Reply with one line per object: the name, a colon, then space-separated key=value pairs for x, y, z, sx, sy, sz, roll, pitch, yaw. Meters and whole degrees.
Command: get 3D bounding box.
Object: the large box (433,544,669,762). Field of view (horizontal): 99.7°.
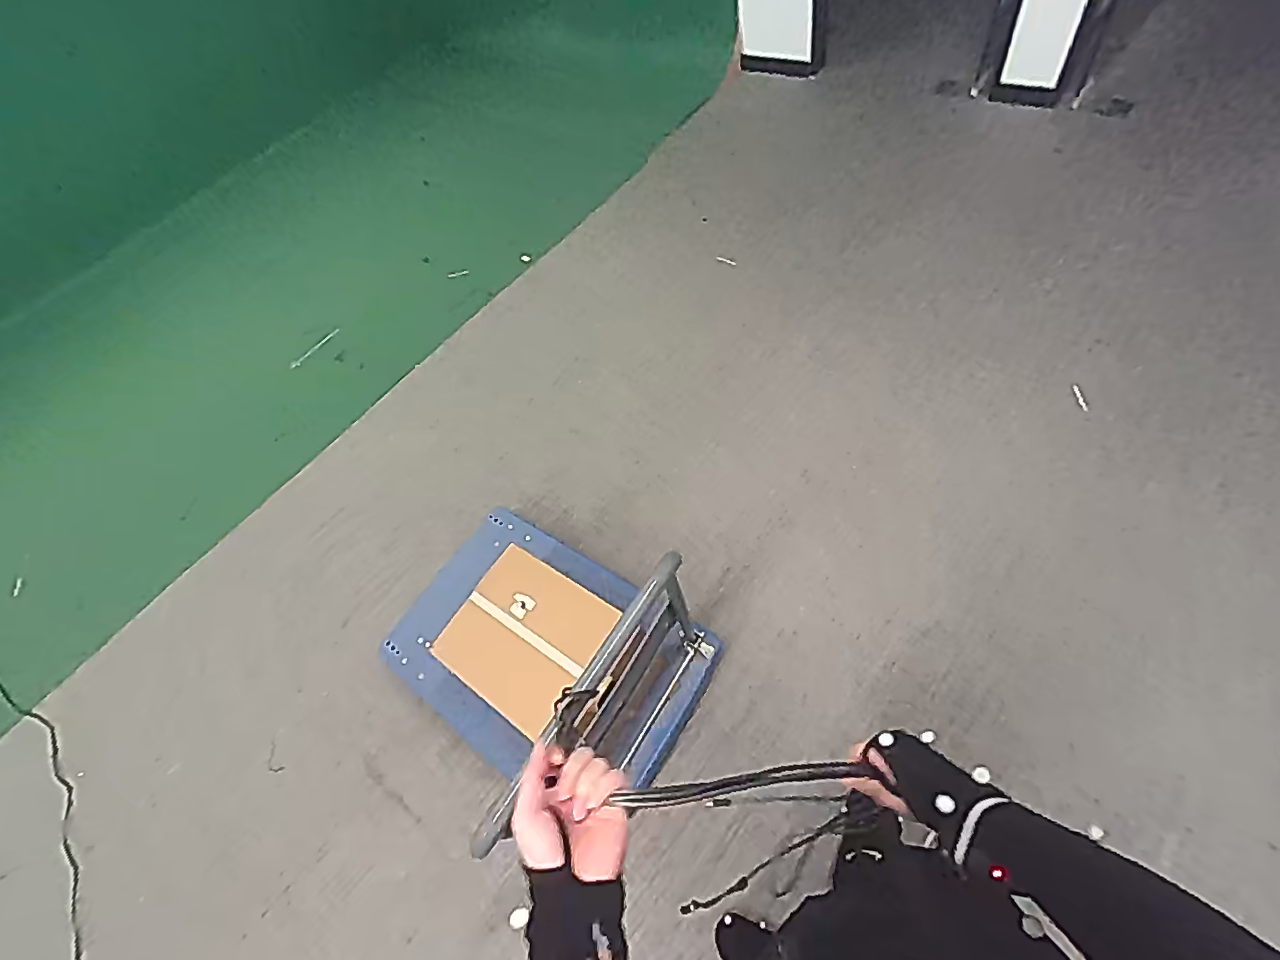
large box: x=-0.195 y=0.421 z=1.312 sx=0.408 sy=0.320 sz=0.320 roll=26 pitch=69 yaw=28
